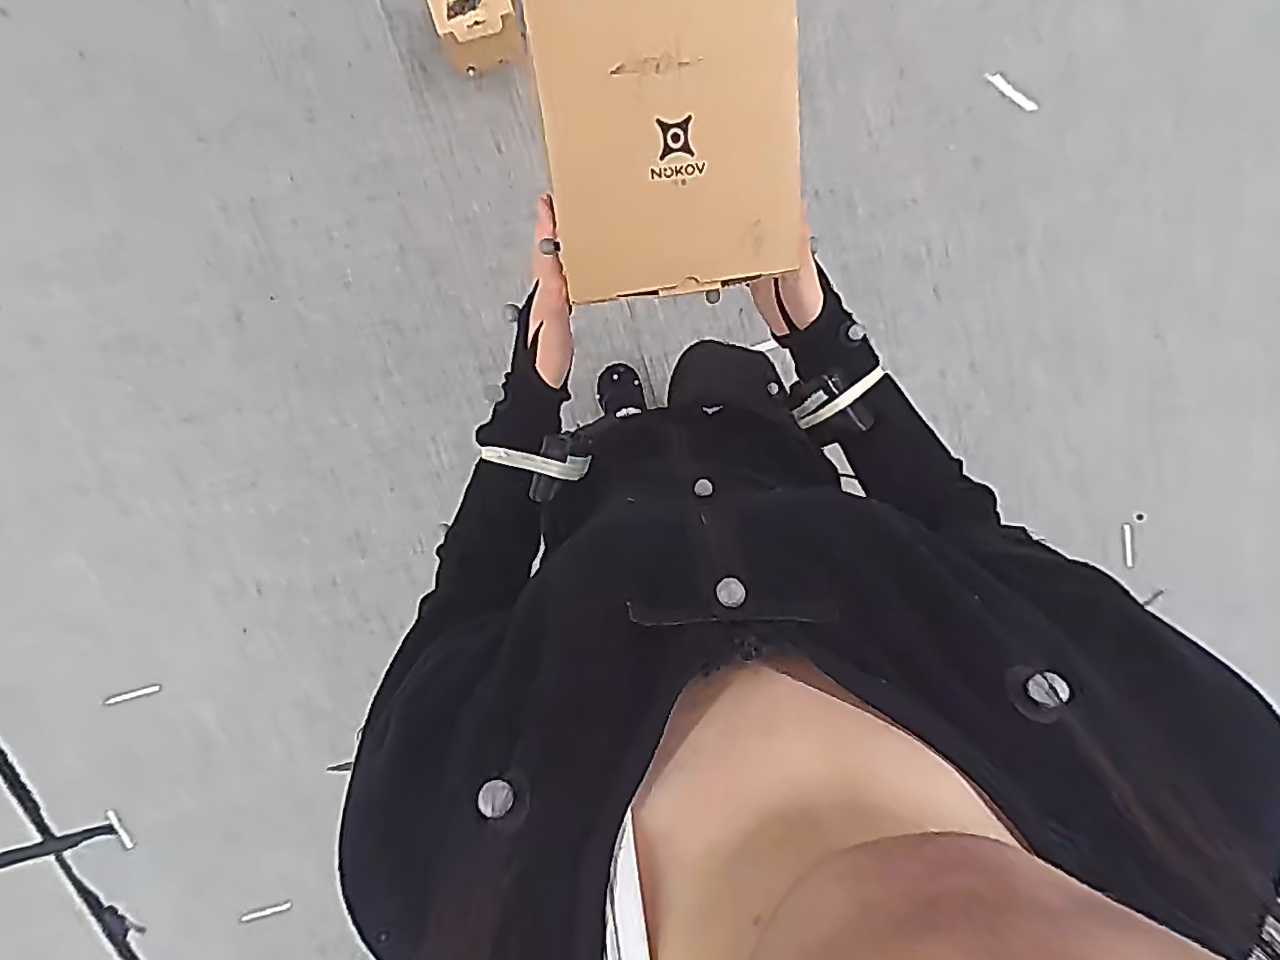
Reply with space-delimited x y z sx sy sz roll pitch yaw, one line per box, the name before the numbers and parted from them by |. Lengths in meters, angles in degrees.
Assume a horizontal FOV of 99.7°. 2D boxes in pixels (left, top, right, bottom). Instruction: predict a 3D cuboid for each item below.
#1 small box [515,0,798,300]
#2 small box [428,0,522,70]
small box | 0.008 -0.241 0.415 0.168 0.176 0.179 -11 110 -5
small box | -0.366 -1.035 1.175 0.168 0.176 0.179 -18 102 0
